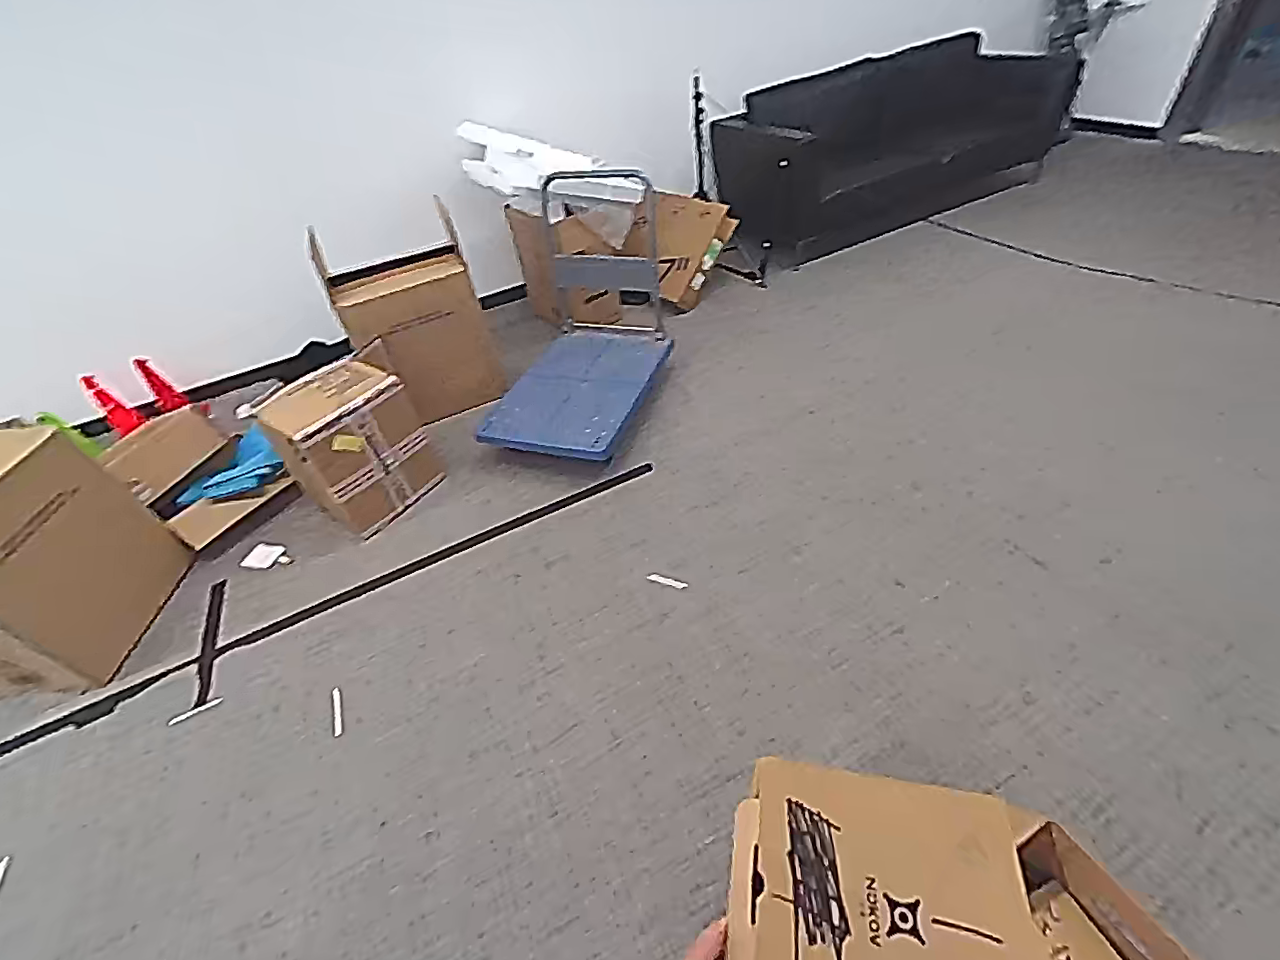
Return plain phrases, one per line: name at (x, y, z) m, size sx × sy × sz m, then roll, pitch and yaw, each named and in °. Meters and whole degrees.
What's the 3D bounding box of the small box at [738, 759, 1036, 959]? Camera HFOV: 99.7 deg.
small box at (0.167, 0.337, 0.409) m, size 0.179 × 0.176 × 0.168 m, roll 5°, pitch 47°, yaw 11°
